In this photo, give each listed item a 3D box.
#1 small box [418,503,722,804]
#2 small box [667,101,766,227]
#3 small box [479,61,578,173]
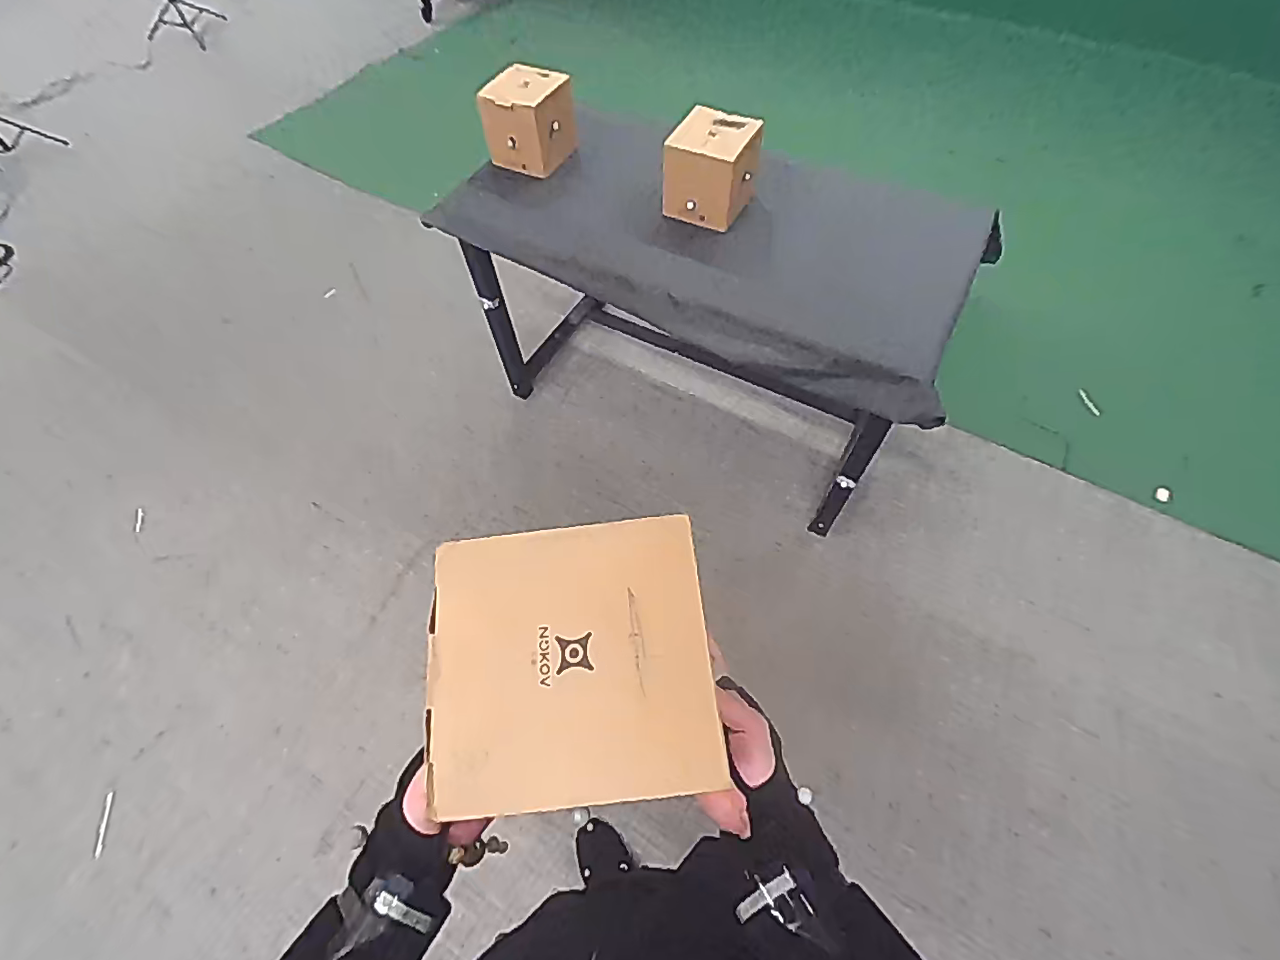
[{"bbox_3d":[-0.042,0.131,0.406,0.179,0.176,0.168,-7,67,0],"label":"small box"},{"bbox_3d":[0.168,-0.721,1.238,0.168,0.176,0.179,24,64,16],"label":"small box"},{"bbox_3d":[-0.272,-0.916,1.371,0.168,0.176,0.179,22,64,14],"label":"small box"}]
